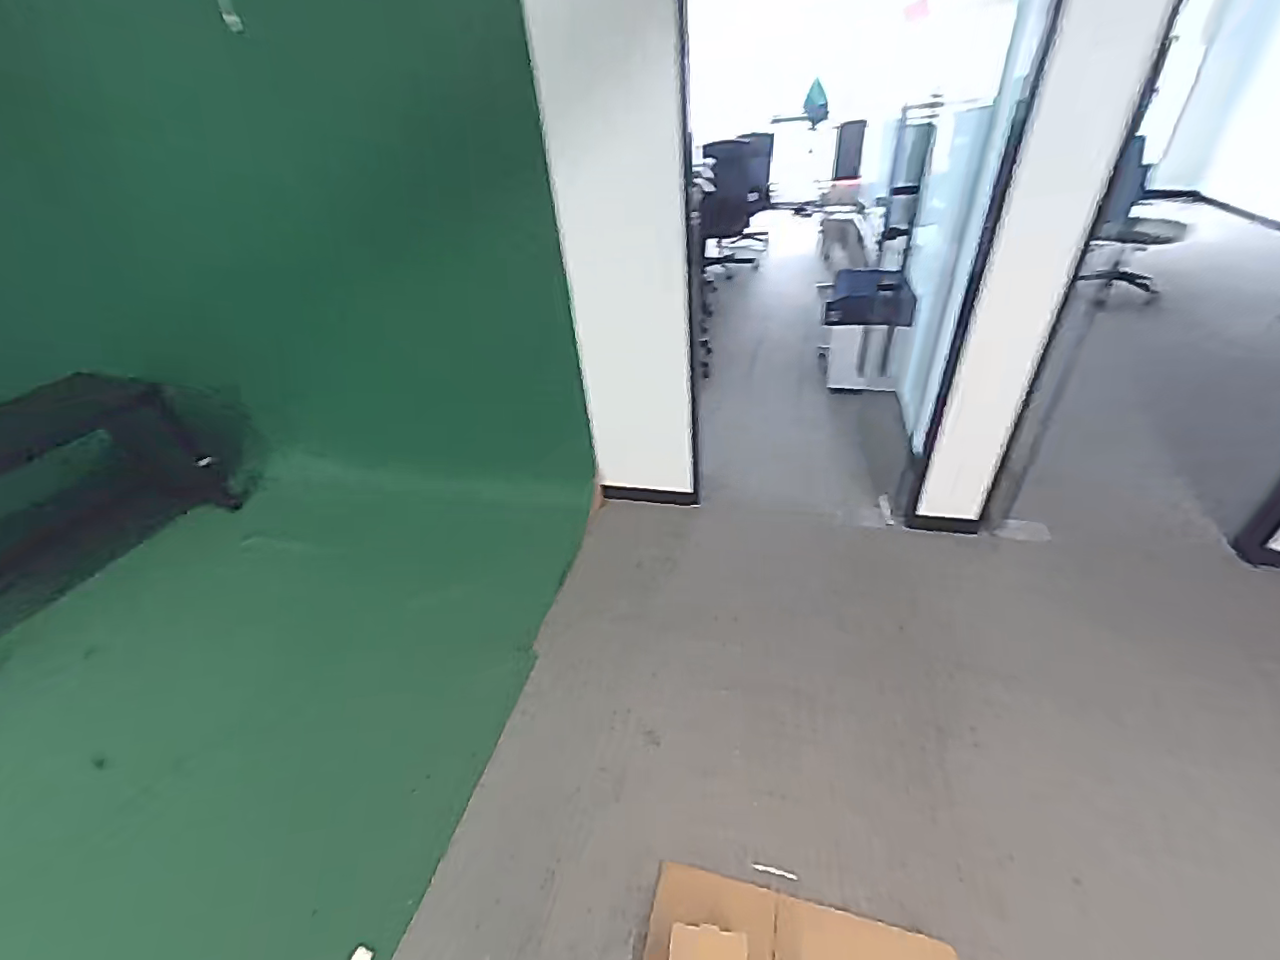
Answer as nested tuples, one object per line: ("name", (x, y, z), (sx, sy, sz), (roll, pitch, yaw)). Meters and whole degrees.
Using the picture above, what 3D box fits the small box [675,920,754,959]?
("small box", (0.154, 1.082, 1.148), (0.168, 0.176, 0.179), (2, 37, 10))
